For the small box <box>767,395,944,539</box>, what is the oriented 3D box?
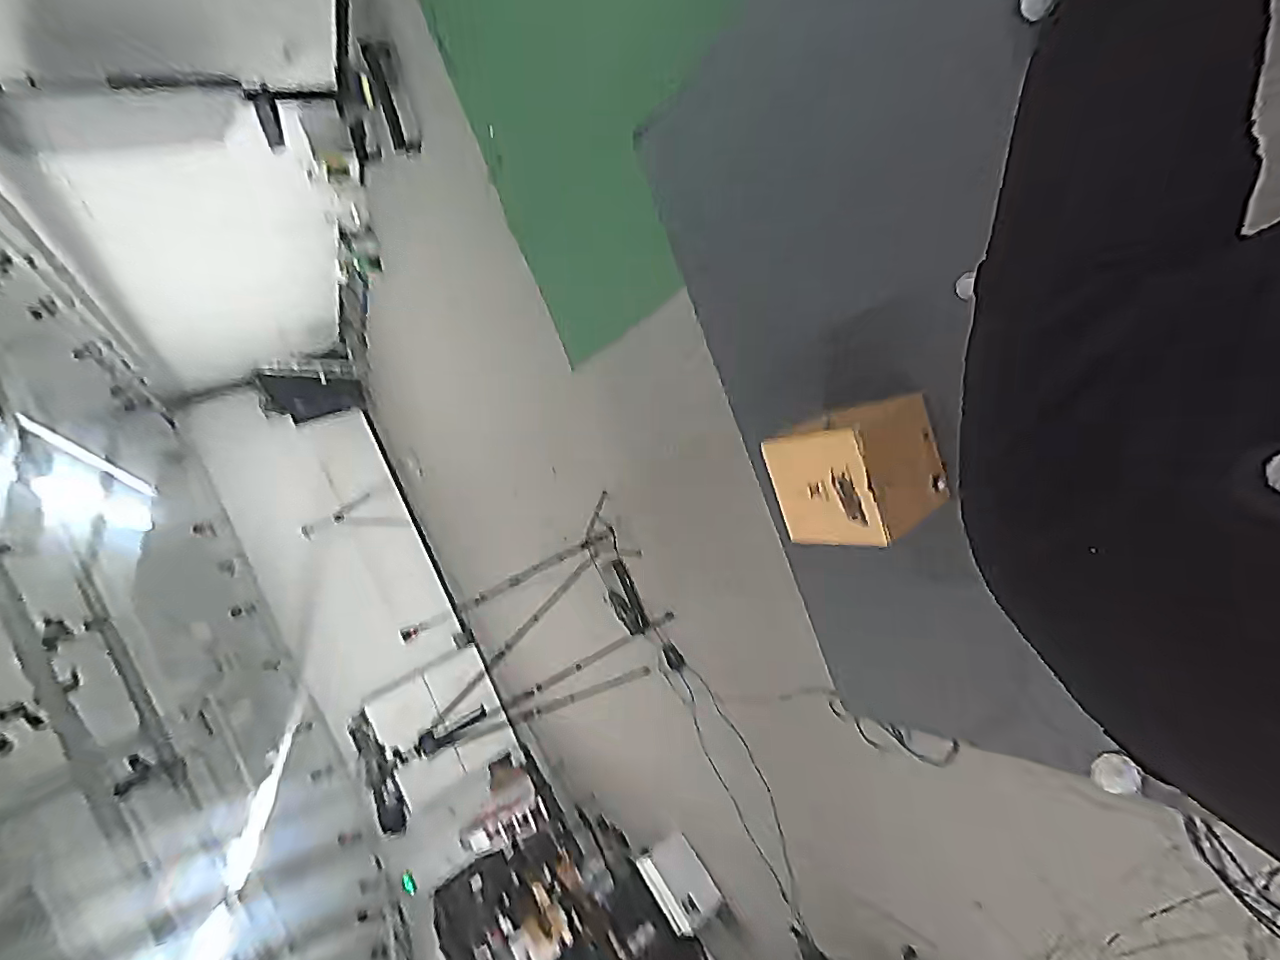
[{"bbox_3d":[0.333,-0.020,0.824,0.179,0.176,0.168,-7,105,60],"label":"small box"}]
